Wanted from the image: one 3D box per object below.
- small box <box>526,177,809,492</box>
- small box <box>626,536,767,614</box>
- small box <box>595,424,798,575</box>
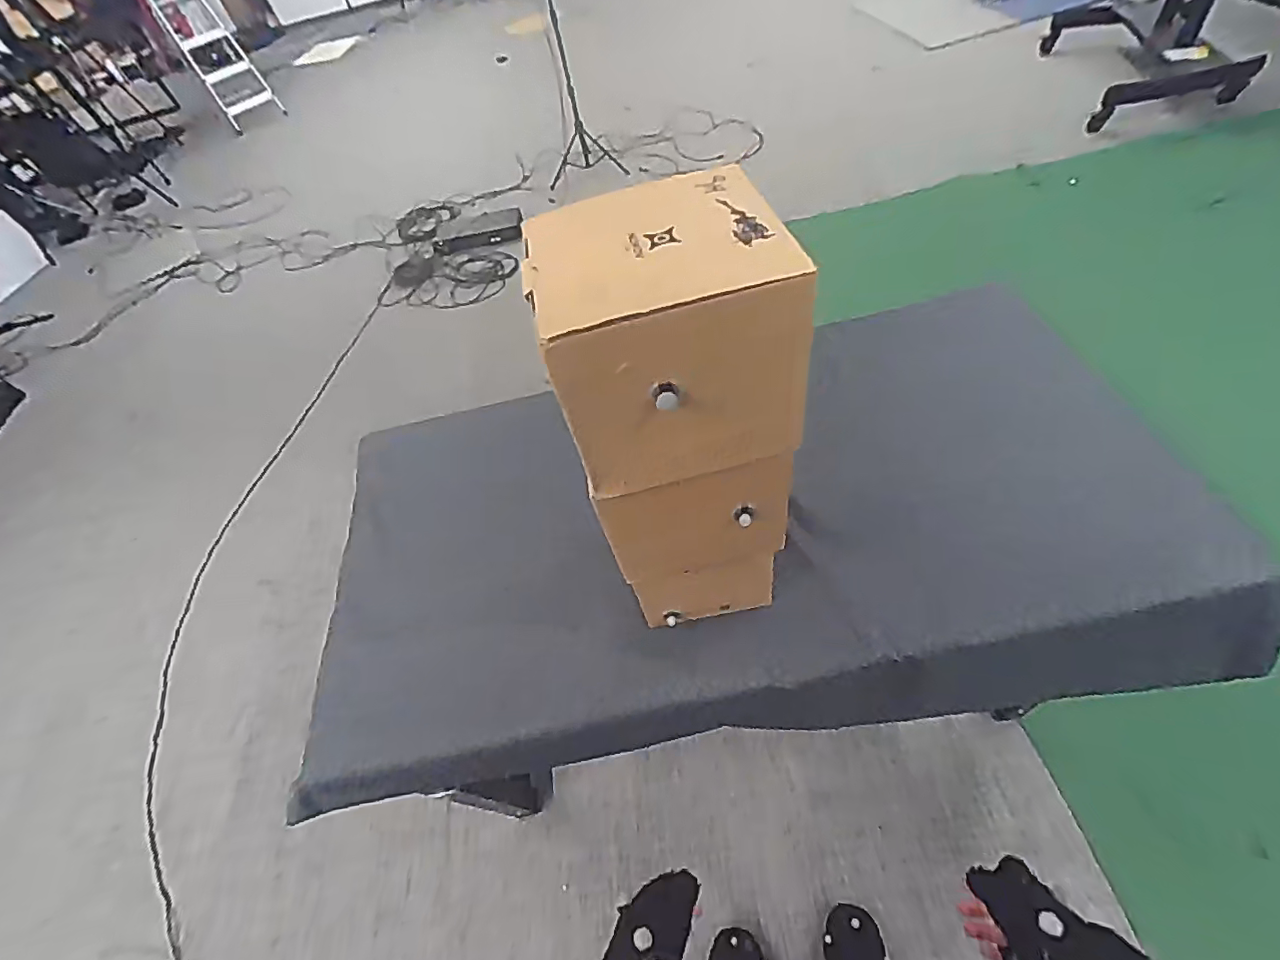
[{"bbox_3d":[0.021,-0.113,0.446,0.179,0.176,0.168,-16,50,-2],"label":"small box"},{"bbox_3d":[0.067,0.063,0.714,0.168,0.176,0.179,-11,52,3],"label":"small box"},{"bbox_3d":[0.043,-0.025,0.560,0.179,0.176,0.168,-16,52,-1],"label":"small box"}]
